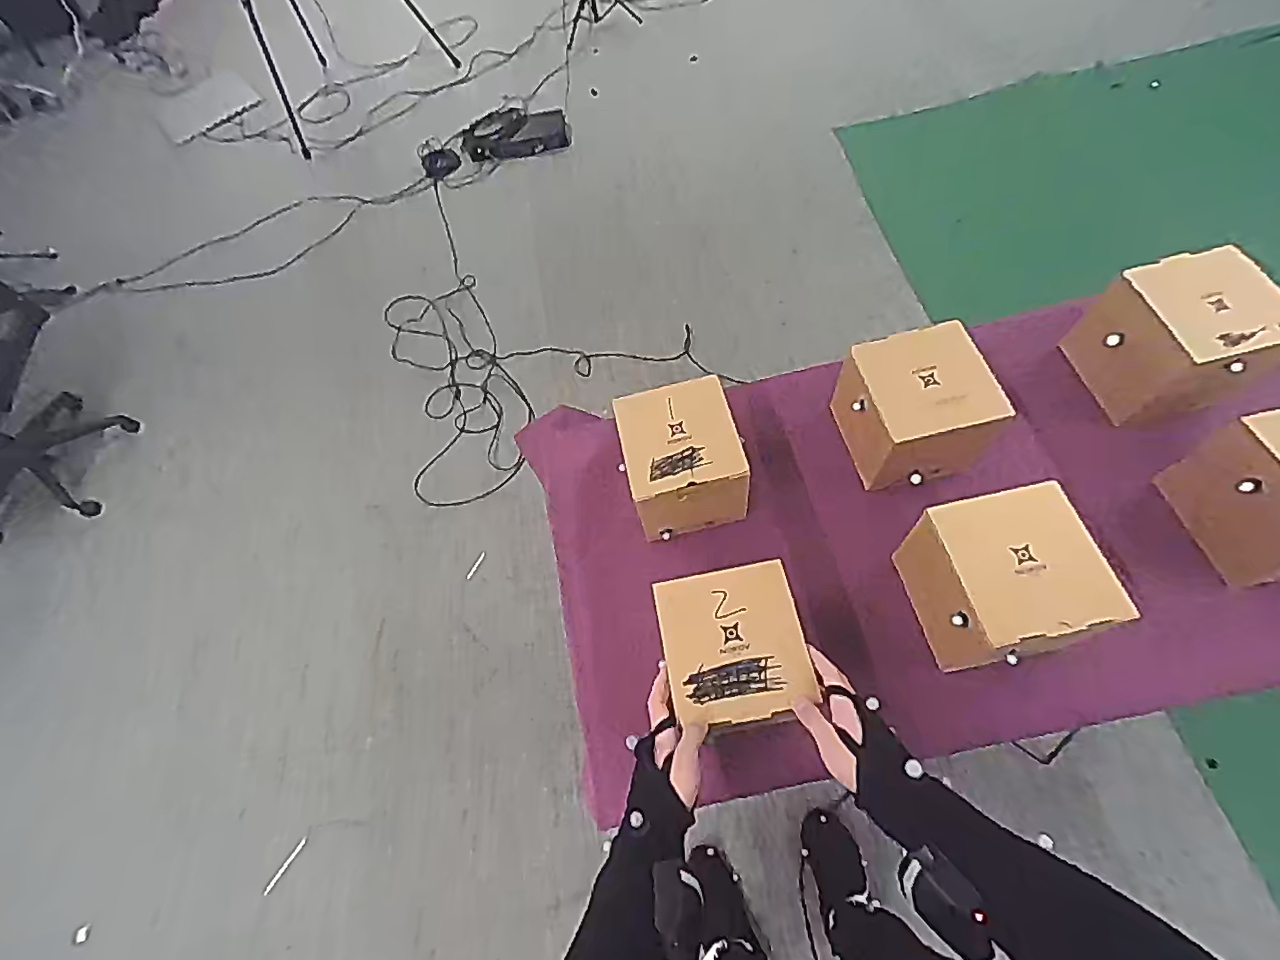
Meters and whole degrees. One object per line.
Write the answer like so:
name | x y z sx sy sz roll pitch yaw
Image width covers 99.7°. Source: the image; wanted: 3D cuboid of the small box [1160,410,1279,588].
small box | 0.845 0.020 0.693 0.168 0.176 0.179 -12 61 4

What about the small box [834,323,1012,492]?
small box | 0.414 -0.106 0.831 0.168 0.176 0.179 -13 63 3

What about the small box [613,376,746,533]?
small box | 0.064 -0.029 0.846 0.168 0.176 0.179 -13 62 2

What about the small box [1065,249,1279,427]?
small box | 0.803 -0.208 0.818 0.168 0.176 0.179 -13 63 3
